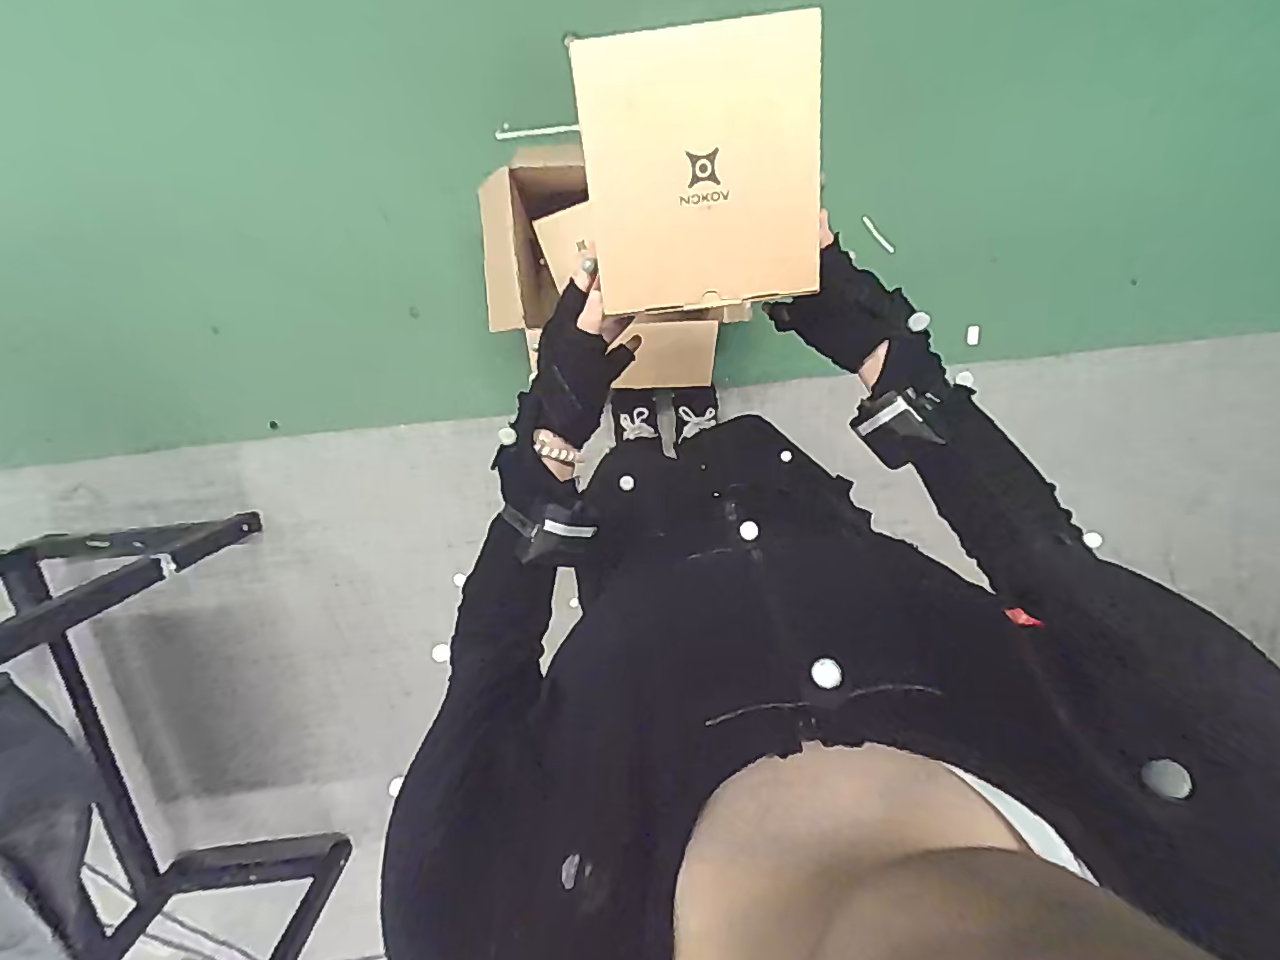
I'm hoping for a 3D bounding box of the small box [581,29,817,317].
[{"bbox_3d":[0.044,-0.244,0.469,0.168,0.176,0.179,-6,111,1],"label":"small box"}]
